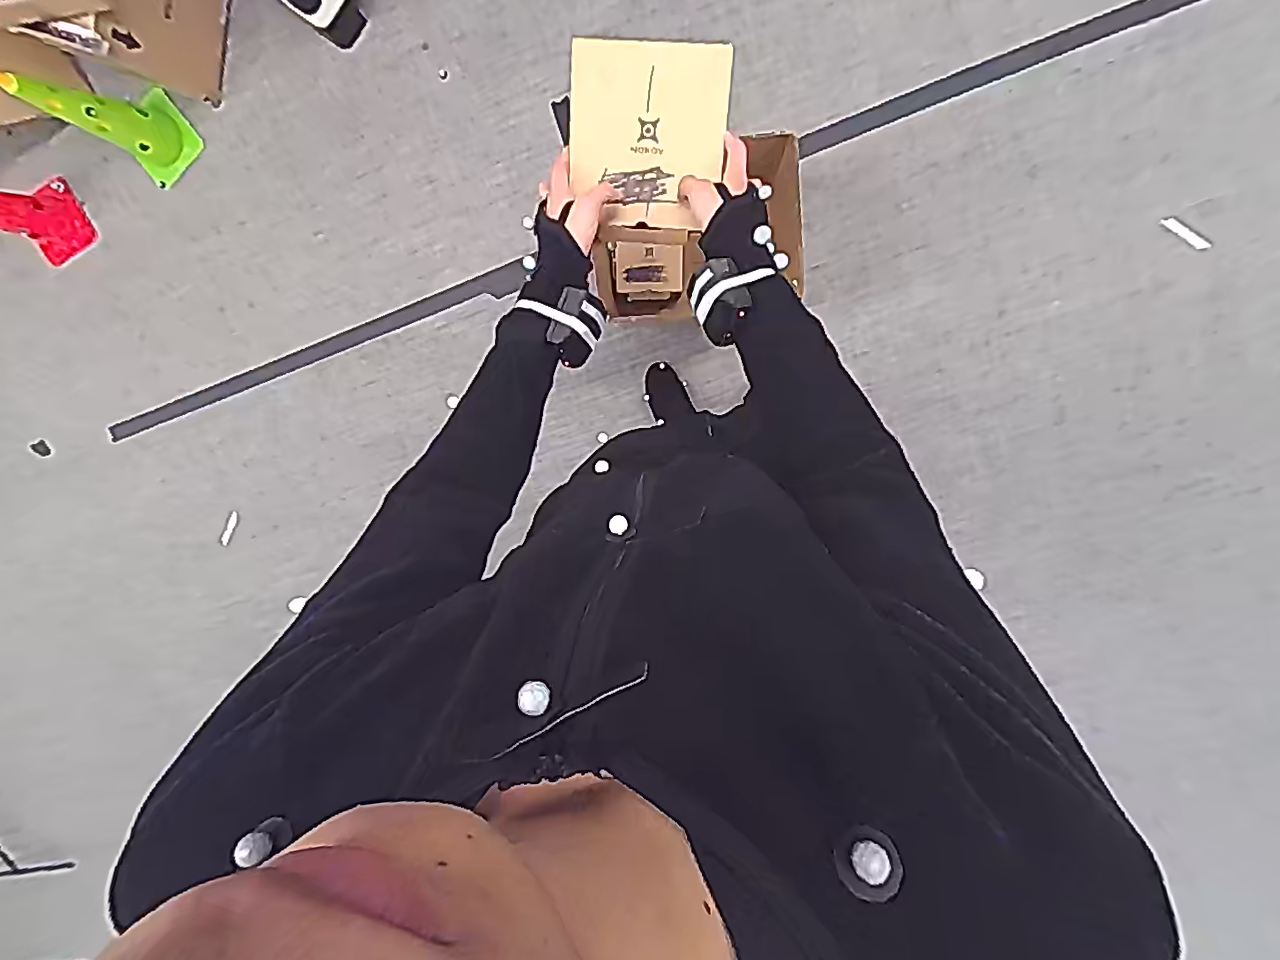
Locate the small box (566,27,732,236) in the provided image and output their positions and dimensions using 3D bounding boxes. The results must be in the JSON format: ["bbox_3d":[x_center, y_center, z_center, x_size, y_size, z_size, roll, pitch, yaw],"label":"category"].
[{"bbox_3d":[0.011,-0.392,0.639,0.168,0.176,0.179,5,110,3],"label":"small box"}]
